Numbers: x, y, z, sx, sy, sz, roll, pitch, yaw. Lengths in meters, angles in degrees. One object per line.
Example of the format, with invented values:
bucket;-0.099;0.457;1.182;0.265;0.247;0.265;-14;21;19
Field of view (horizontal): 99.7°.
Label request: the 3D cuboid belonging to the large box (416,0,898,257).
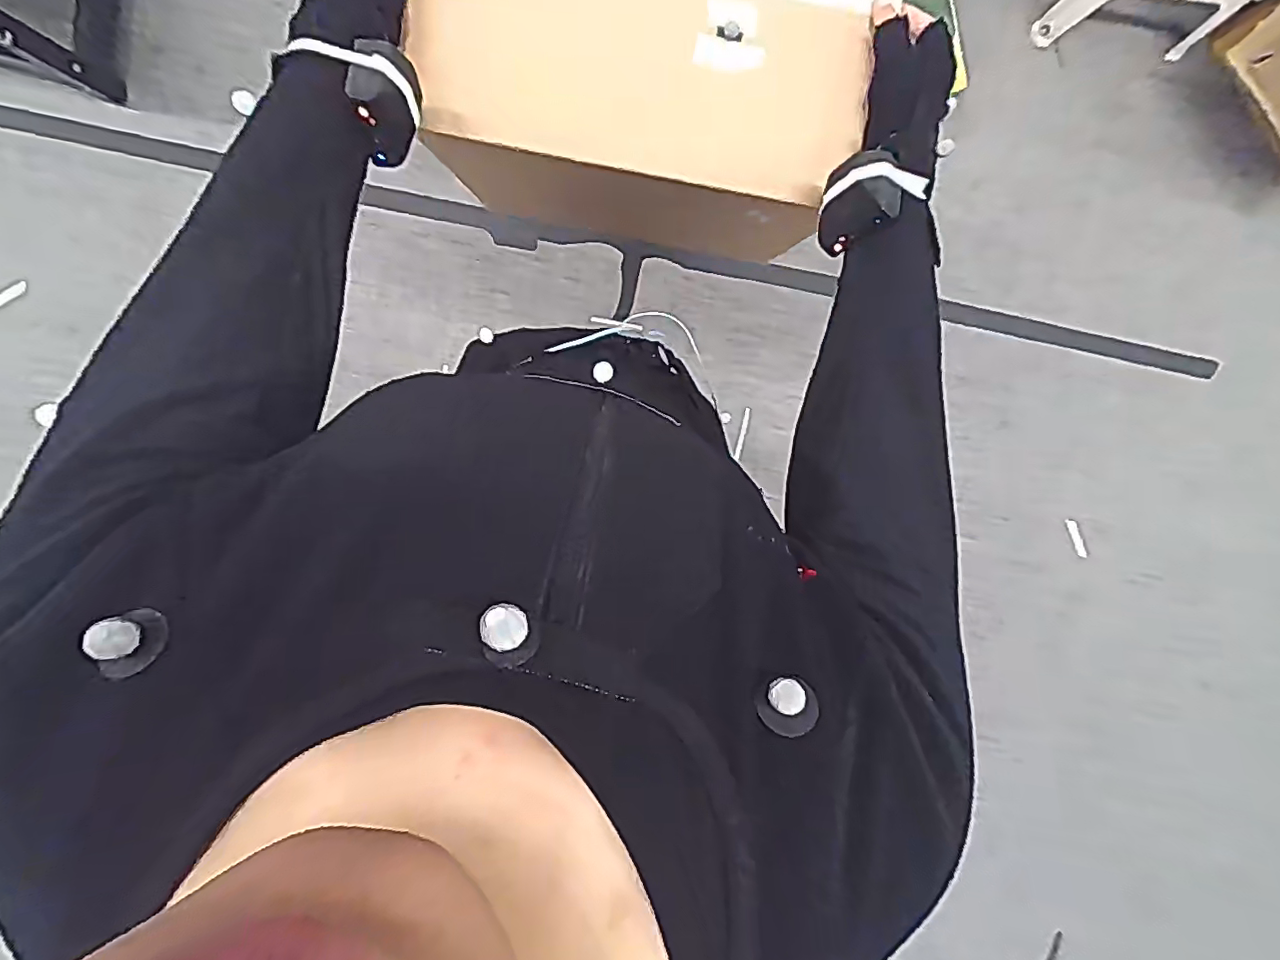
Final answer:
large box;0.017;-0.463;0.595;0.408;0.320;0.320;10;104;-4
